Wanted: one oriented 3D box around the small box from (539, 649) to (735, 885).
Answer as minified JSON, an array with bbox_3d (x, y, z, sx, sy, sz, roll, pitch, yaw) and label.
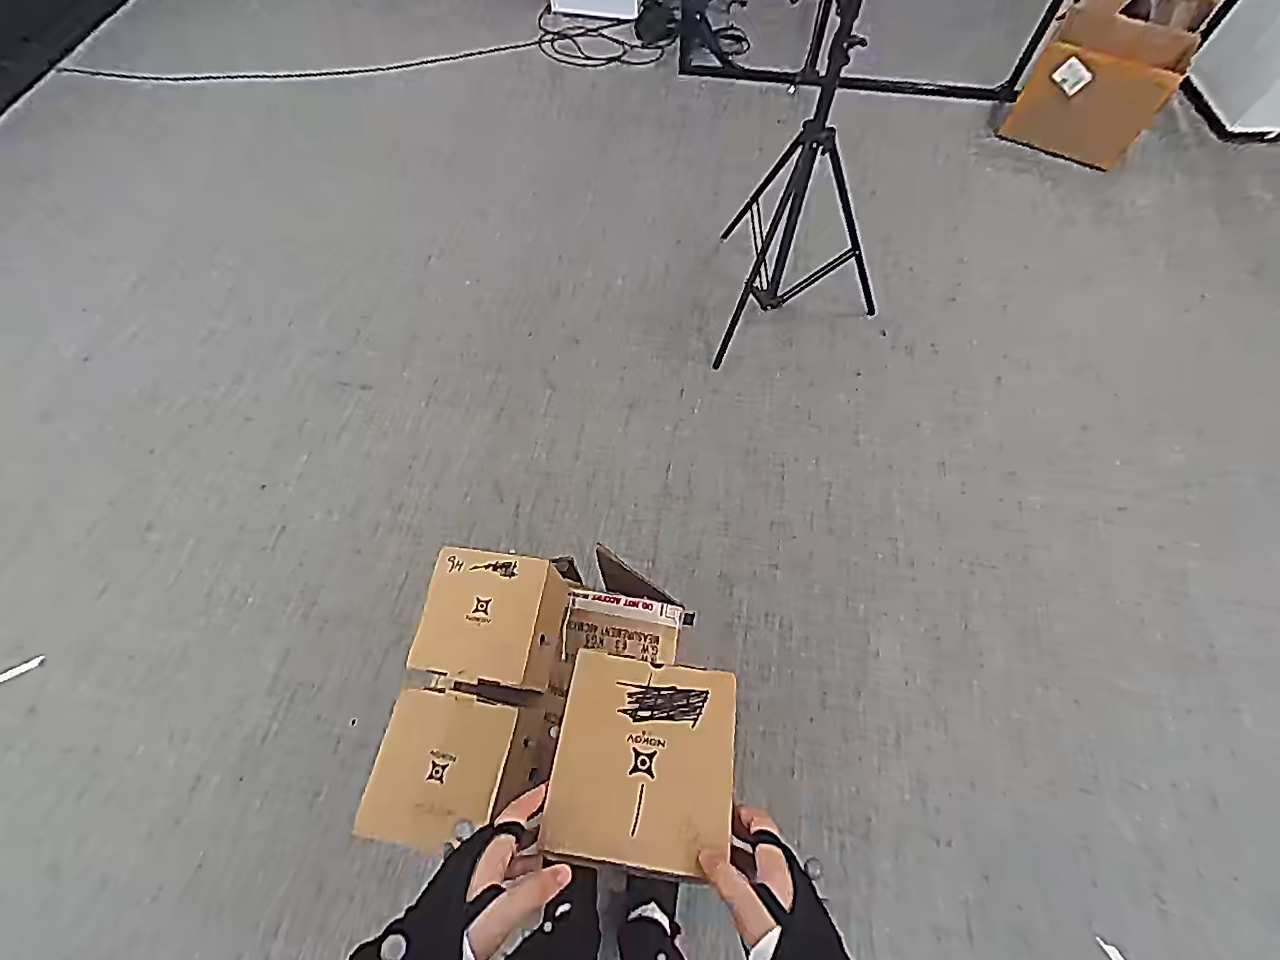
[{"bbox_3d":[-0.001,0.303,0.566,0.168,0.176,0.179,9,53,2],"label":"small box"}]
